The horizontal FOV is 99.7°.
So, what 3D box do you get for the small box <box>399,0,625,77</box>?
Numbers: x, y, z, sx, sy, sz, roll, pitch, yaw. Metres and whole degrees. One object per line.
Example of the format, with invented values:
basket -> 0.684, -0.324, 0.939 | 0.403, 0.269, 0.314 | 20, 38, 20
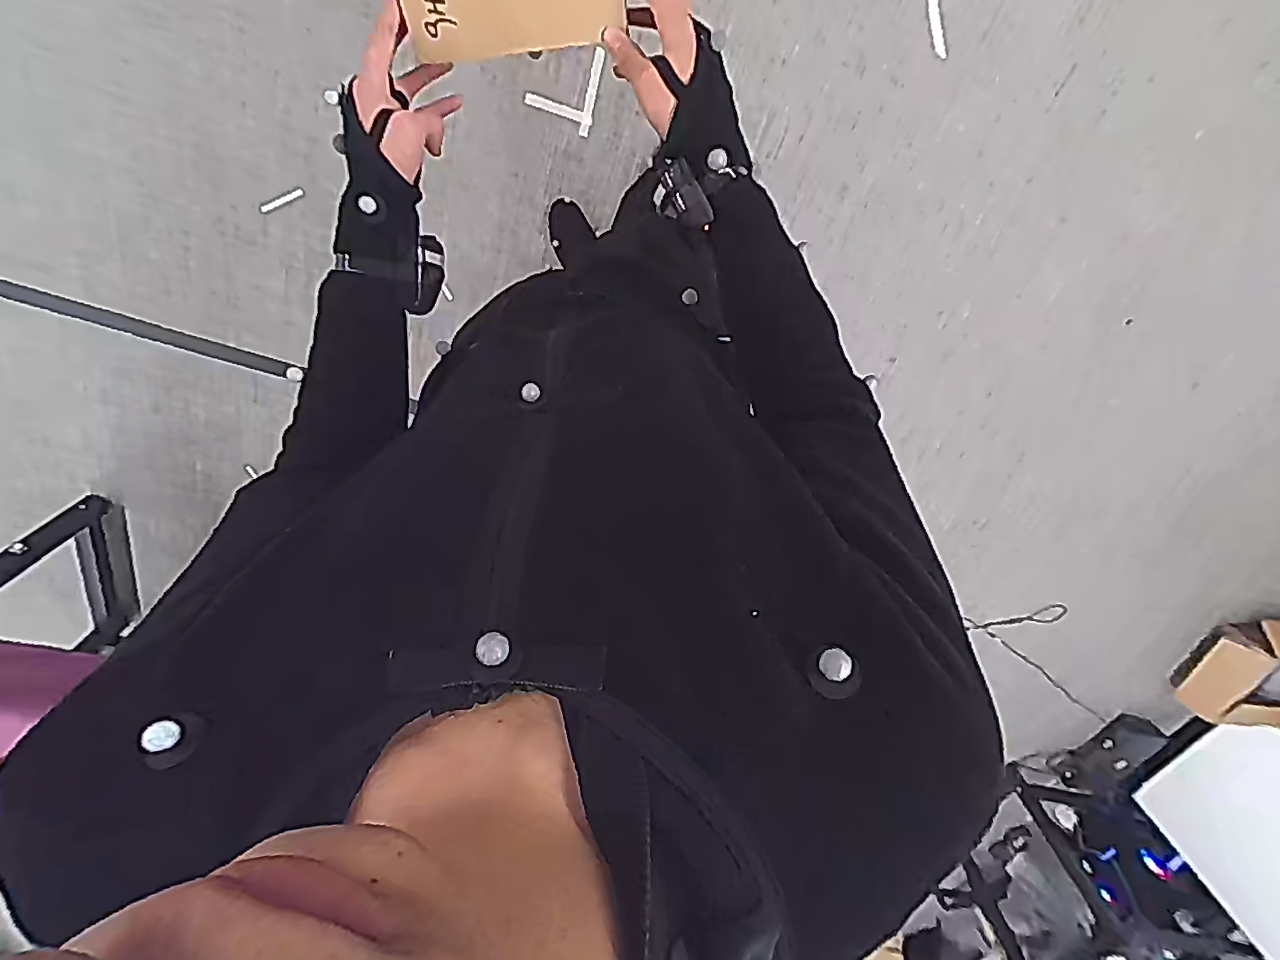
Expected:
small box -> -0.112, -0.462, 0.455 | 0.179, 0.176, 0.168 | -7, 135, 0
